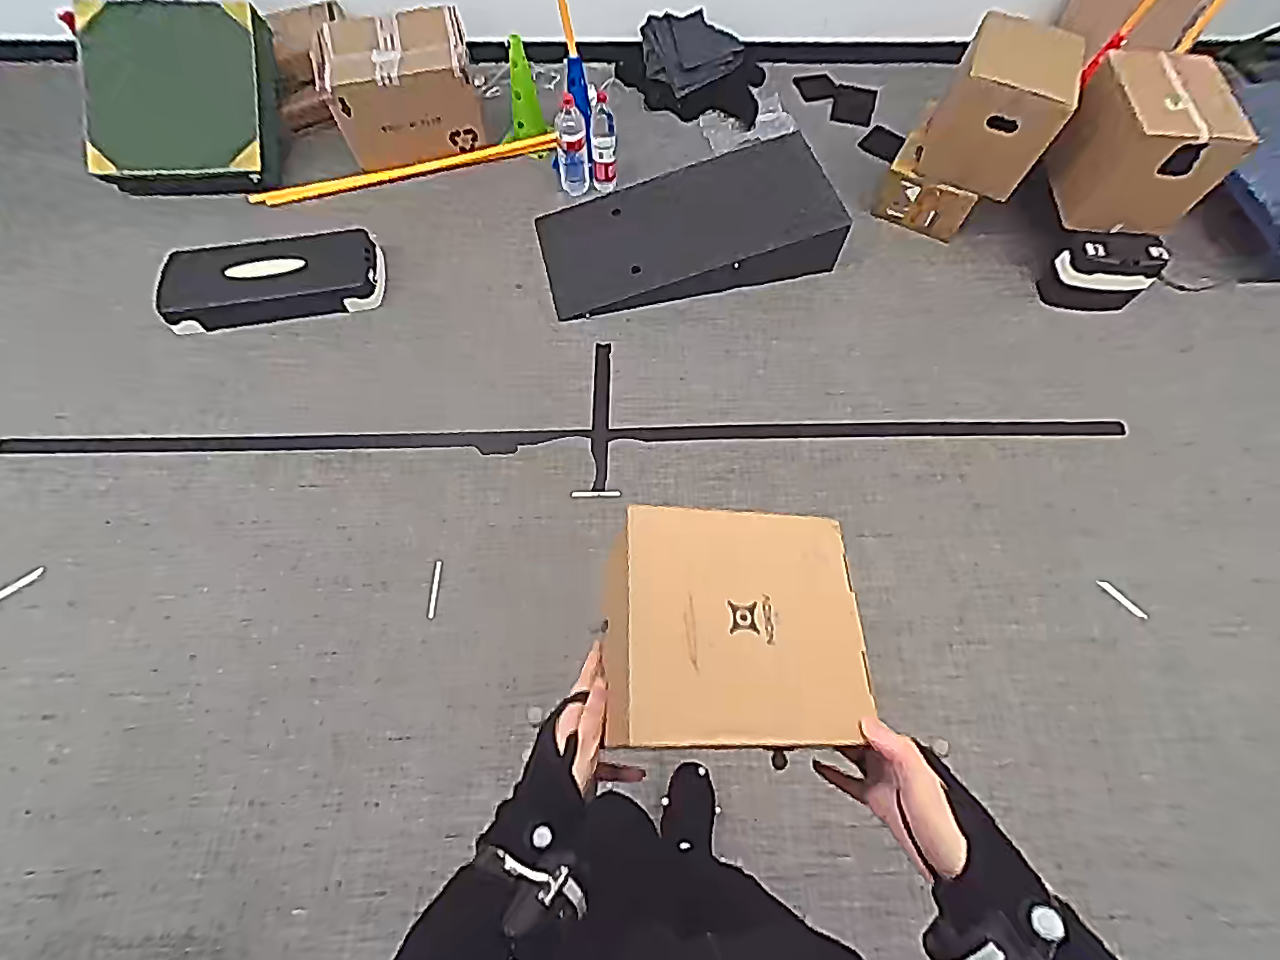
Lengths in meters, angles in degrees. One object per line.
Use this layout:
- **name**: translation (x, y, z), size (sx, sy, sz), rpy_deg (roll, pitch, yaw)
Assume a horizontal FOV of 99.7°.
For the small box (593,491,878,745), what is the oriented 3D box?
- **small box**: translation (0.060, 0.125, 0.451), size (0.179, 0.176, 0.168), rpy_deg (5, 61, -9)
